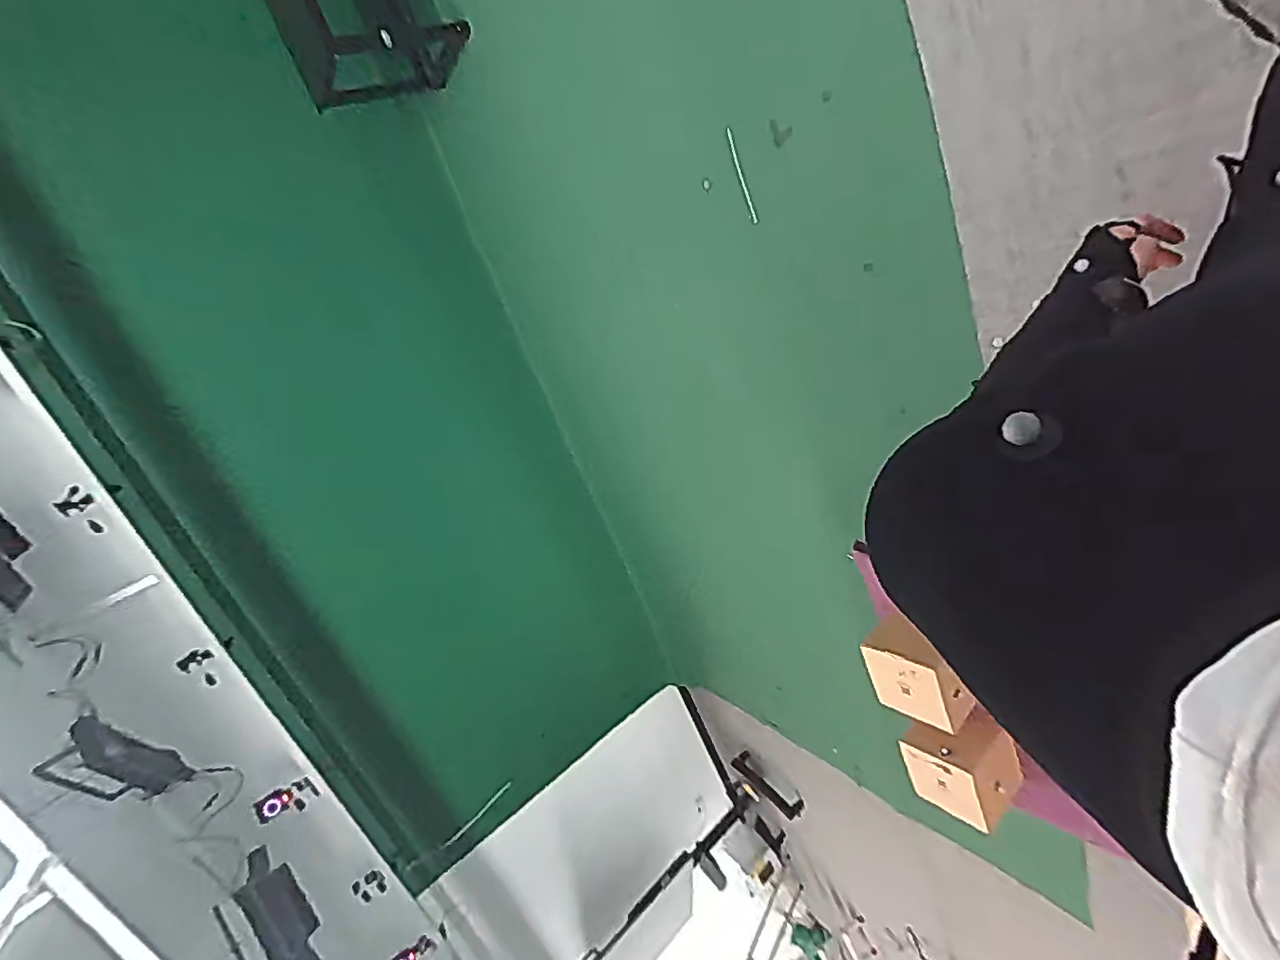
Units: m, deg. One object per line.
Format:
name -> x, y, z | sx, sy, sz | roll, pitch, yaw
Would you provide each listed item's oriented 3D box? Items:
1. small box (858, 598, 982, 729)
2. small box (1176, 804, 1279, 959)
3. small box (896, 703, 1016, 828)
small box -> 0.612, 0.390, 1.174 | 0.168, 0.176, 0.179 | 5, 123, 56
small box -> 0.980, 0.664, 0.843 | 0.168, 0.176, 0.179 | 5, 121, 58
small box -> 0.728, 0.633, 1.241 | 0.168, 0.176, 0.179 | 3, 120, 58
